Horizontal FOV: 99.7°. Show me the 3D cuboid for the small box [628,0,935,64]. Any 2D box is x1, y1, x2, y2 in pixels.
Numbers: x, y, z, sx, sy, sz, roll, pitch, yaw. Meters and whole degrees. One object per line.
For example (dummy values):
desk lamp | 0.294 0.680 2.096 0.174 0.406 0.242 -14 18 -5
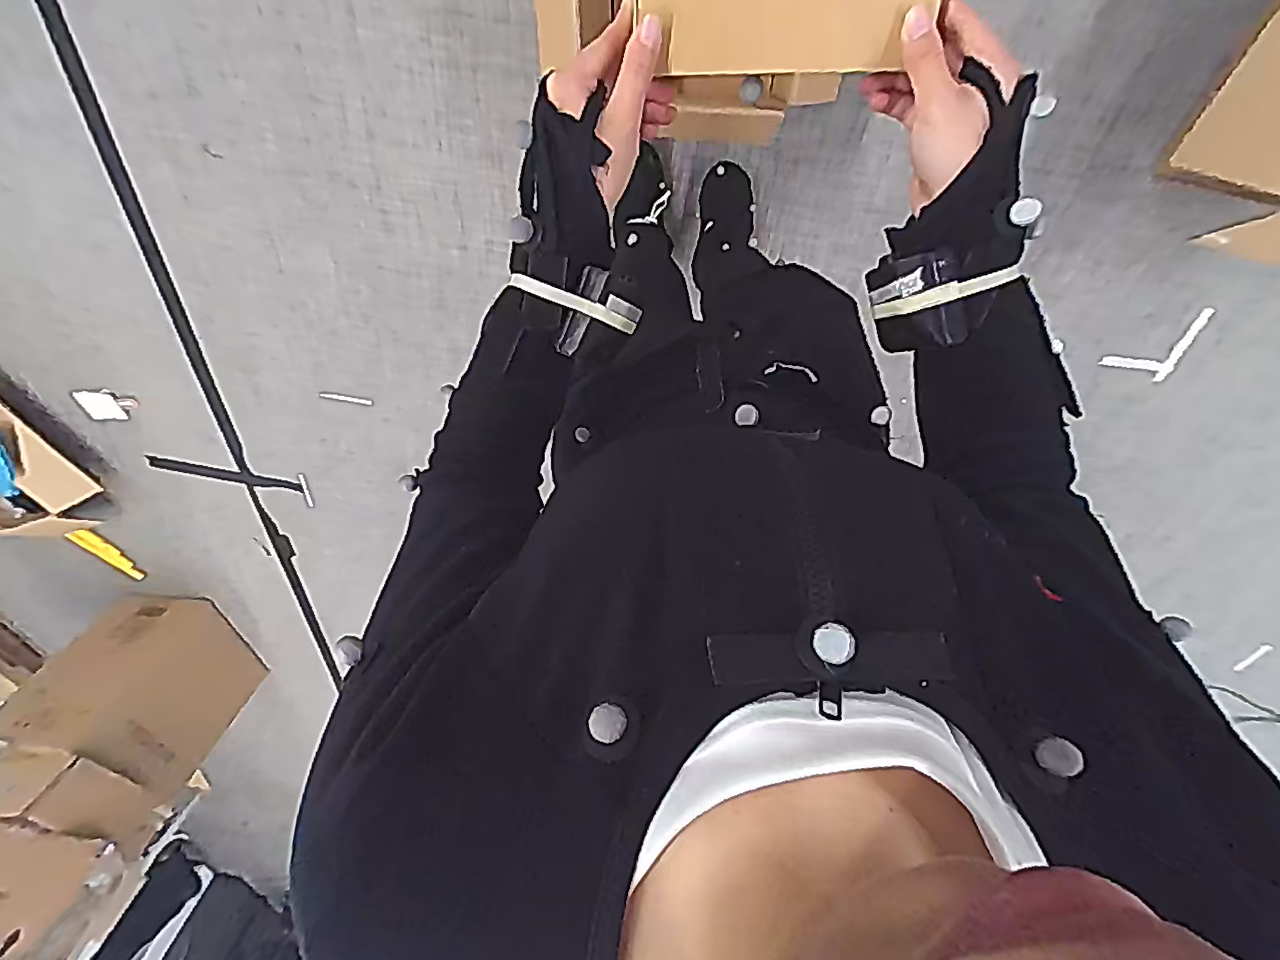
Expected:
small box | 0.080 -0.365 0.332 0.179 0.176 0.168 -1 130 0
